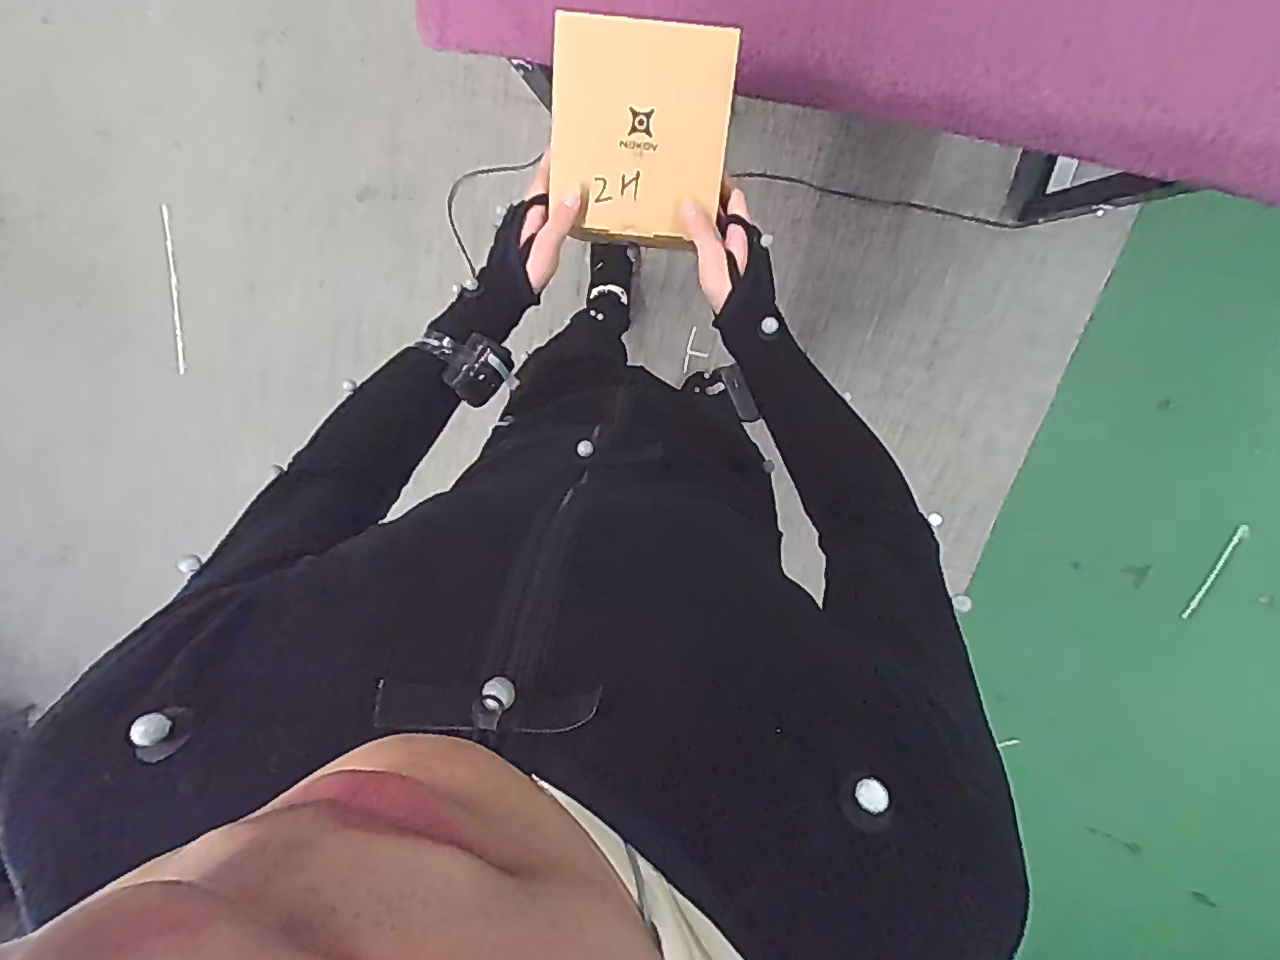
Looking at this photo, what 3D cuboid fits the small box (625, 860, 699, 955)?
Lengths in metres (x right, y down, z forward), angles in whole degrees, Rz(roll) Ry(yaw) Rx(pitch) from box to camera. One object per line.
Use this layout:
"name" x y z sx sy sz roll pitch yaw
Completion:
"small box" 0.066 1.223 1.531 0.179 0.176 0.168 13 109 3

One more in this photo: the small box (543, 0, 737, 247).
"small box" -0.002 -0.355 0.575 0.168 0.176 0.179 6 110 0

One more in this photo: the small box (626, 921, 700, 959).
"small box" 0.050 1.274 1.376 0.179 0.176 0.168 11 109 3
